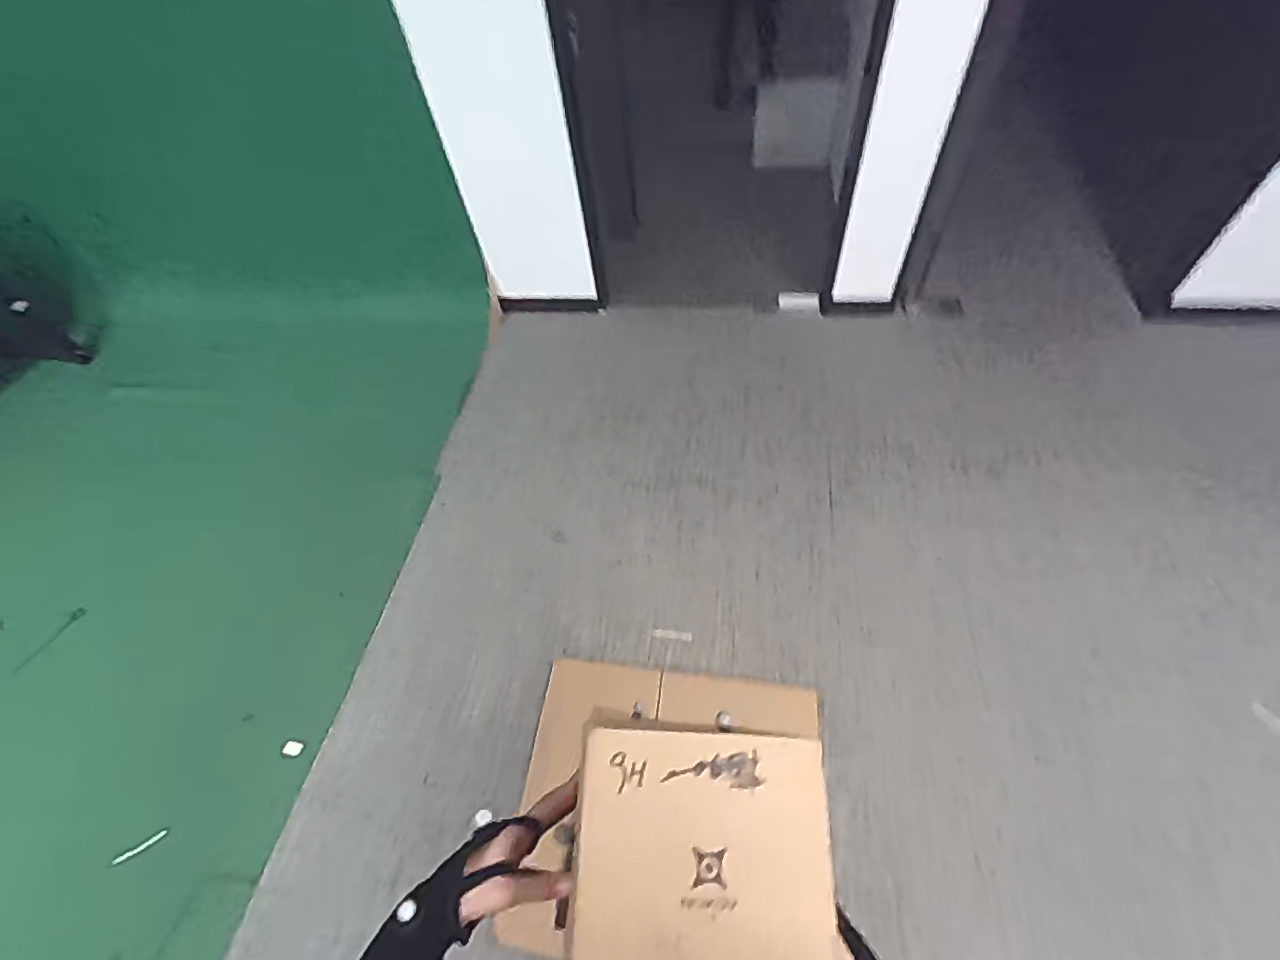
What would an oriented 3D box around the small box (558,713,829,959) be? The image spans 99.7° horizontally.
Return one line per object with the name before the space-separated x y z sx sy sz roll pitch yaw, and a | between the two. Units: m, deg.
small box | 0.029 0.279 0.411 0.168 0.176 0.179 5 67 -5
